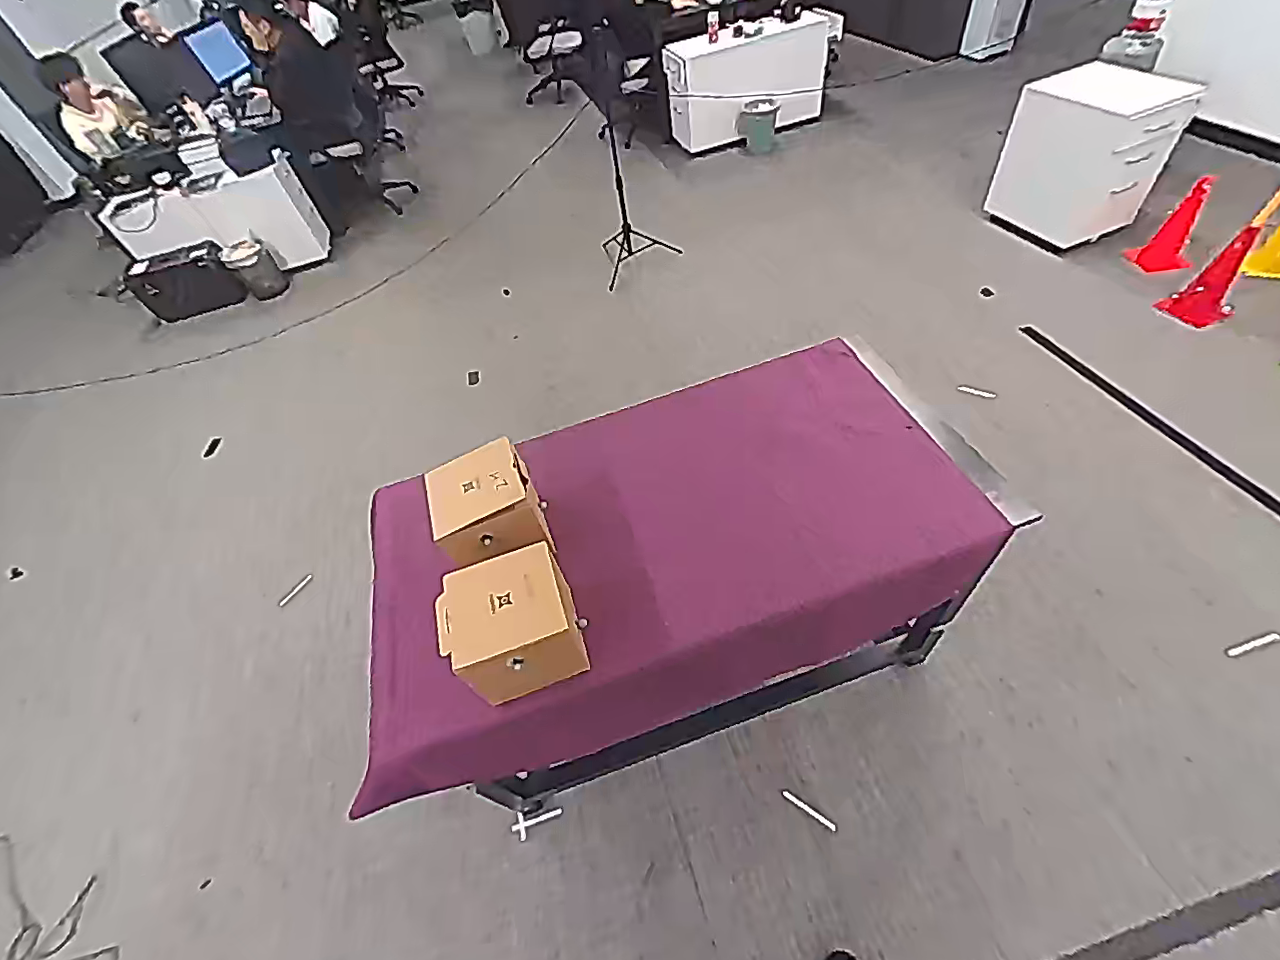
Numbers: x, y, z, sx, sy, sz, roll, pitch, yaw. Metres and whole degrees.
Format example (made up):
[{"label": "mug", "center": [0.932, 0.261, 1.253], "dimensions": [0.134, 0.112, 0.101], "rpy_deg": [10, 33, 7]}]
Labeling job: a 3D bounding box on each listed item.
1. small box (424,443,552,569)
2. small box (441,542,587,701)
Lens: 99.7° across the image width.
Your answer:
[{"label": "small box", "center": [-0.287, 0.065, 1.031], "dimensions": [0.179, 0.176, 0.168], "rpy_deg": [-20, 52, -7]}, {"label": "small box", "center": [-0.201, 0.234, 0.880], "dimensions": [0.179, 0.176, 0.168], "rpy_deg": [-18, 51, -6]}]
